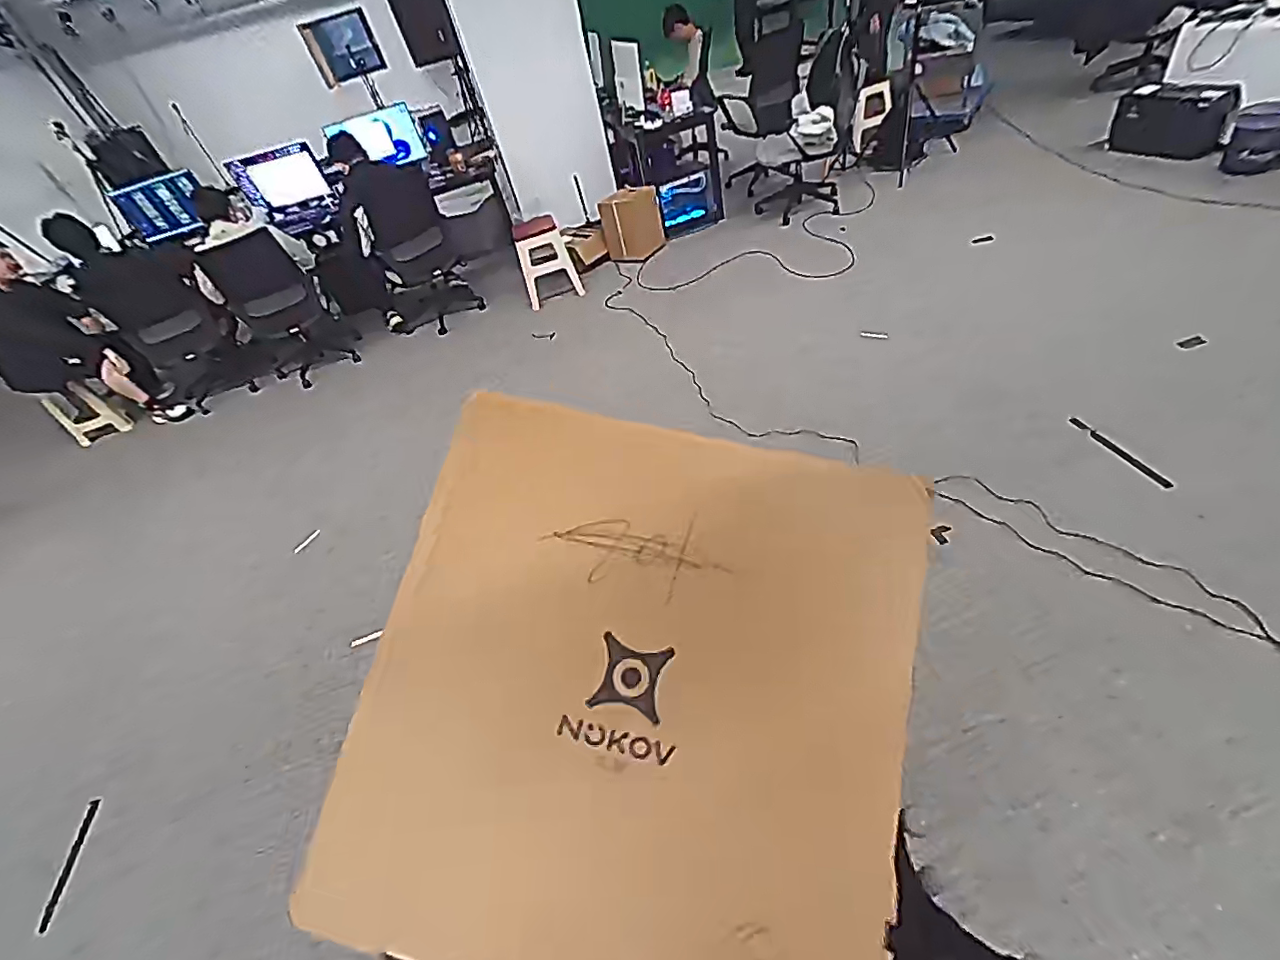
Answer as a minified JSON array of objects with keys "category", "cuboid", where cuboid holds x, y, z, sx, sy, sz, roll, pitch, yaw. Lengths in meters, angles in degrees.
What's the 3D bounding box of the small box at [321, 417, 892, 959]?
[{"category":"small box","cuboid":[0.000,0.092,0.258,0.168,0.176,0.179,10,74,6]}]
